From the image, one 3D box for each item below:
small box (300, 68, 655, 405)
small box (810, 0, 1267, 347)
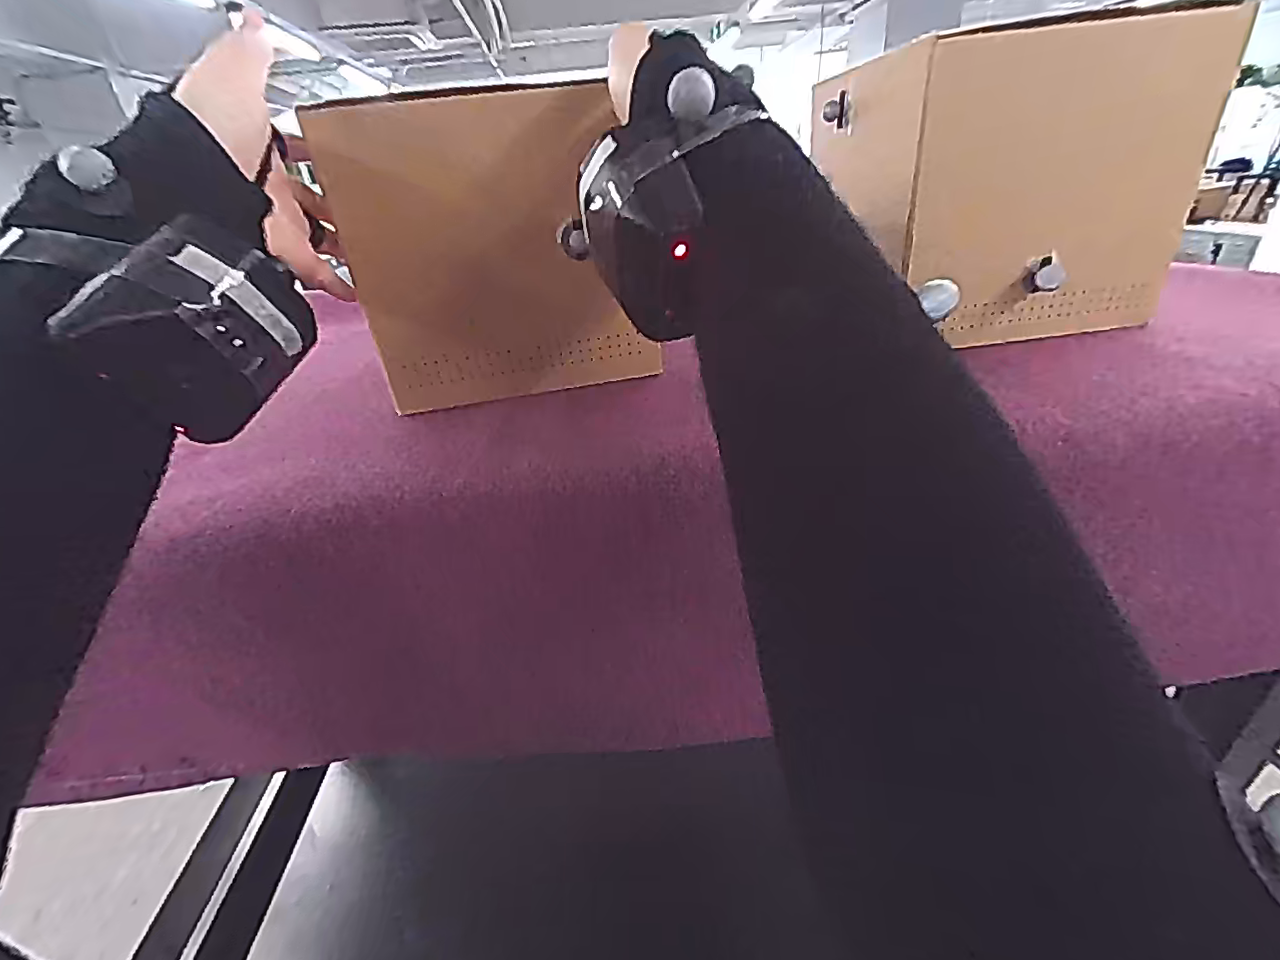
[{"bbox_3d":[-0.089,-0.166,0.382,0.179,0.176,0.168,-10,28,-6],"label":"small box"},{"bbox_3d":[0.234,-0.201,0.378,0.179,0.176,0.168,-7,28,-2],"label":"small box"}]
